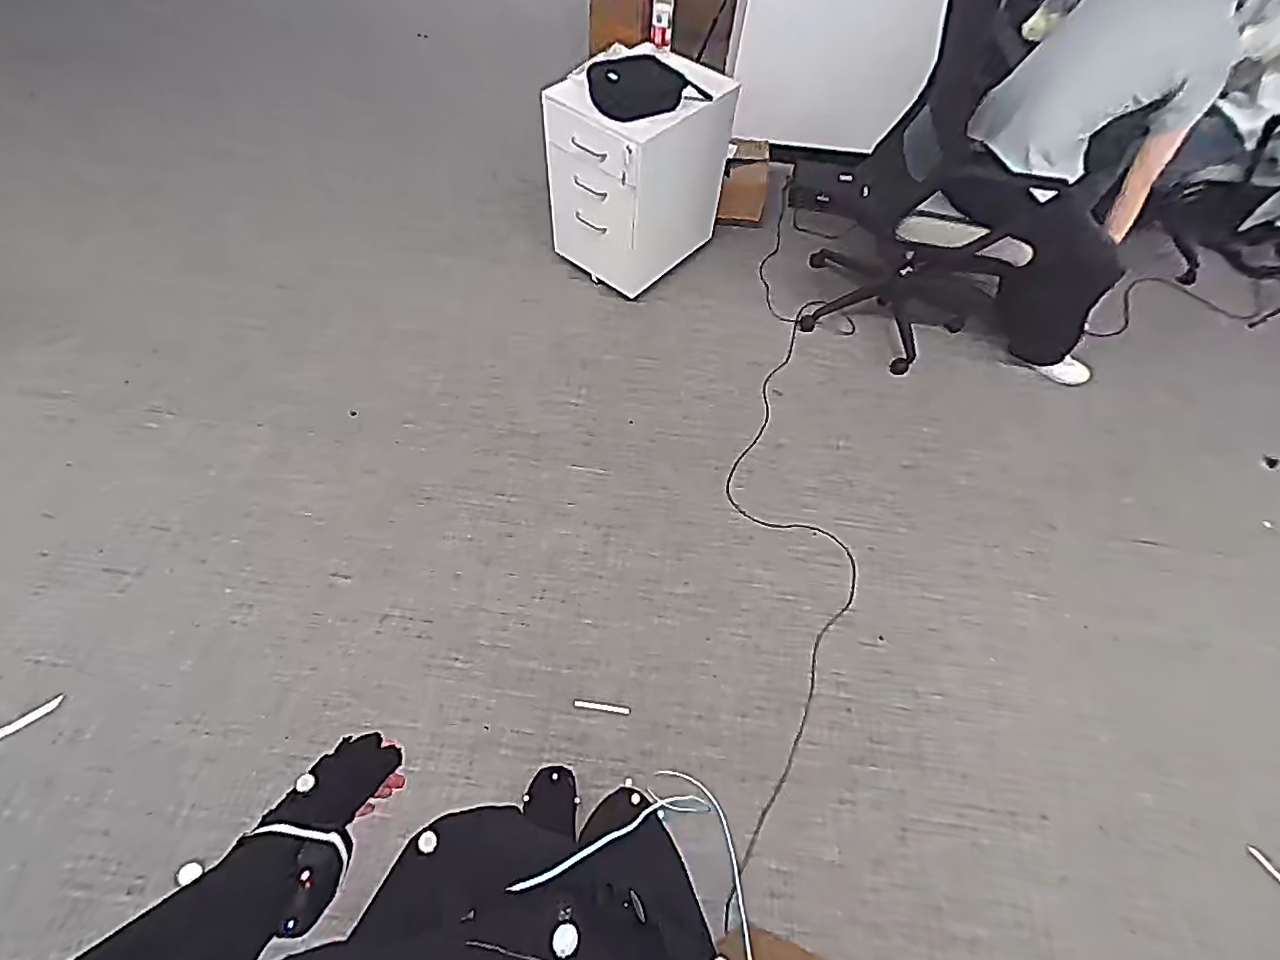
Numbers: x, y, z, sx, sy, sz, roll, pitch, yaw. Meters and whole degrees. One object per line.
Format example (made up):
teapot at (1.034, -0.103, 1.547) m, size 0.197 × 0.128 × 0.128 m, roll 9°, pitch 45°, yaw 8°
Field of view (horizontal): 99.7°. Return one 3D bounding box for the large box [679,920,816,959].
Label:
large box at (0.161, 0.813, 0.621) m, size 0.320 × 0.408 × 0.320 m, roll -13°, pitch 71°, yaw -27°
